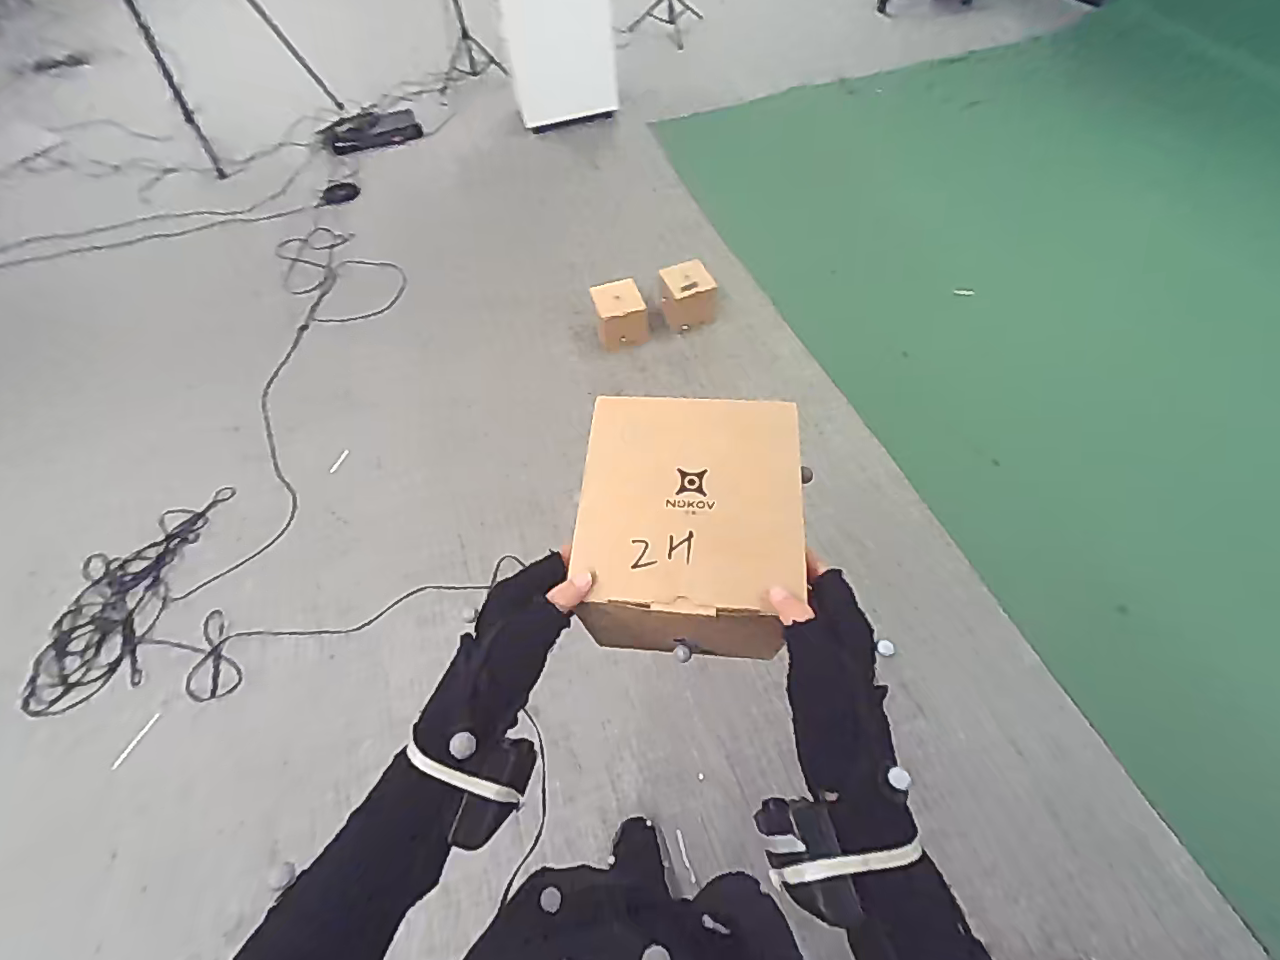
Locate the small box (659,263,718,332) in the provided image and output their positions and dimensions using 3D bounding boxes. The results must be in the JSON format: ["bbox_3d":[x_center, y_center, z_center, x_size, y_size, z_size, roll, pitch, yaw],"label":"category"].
[{"bbox_3d":[0.181,-0.678,2.034,0.168,0.176,0.179,-19,58,-9],"label":"small box"}]

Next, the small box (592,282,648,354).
[{"bbox_3d":[-0.073,-0.597,1.997,0.168,0.176,0.179,-17,59,-8],"label":"small box"}]
